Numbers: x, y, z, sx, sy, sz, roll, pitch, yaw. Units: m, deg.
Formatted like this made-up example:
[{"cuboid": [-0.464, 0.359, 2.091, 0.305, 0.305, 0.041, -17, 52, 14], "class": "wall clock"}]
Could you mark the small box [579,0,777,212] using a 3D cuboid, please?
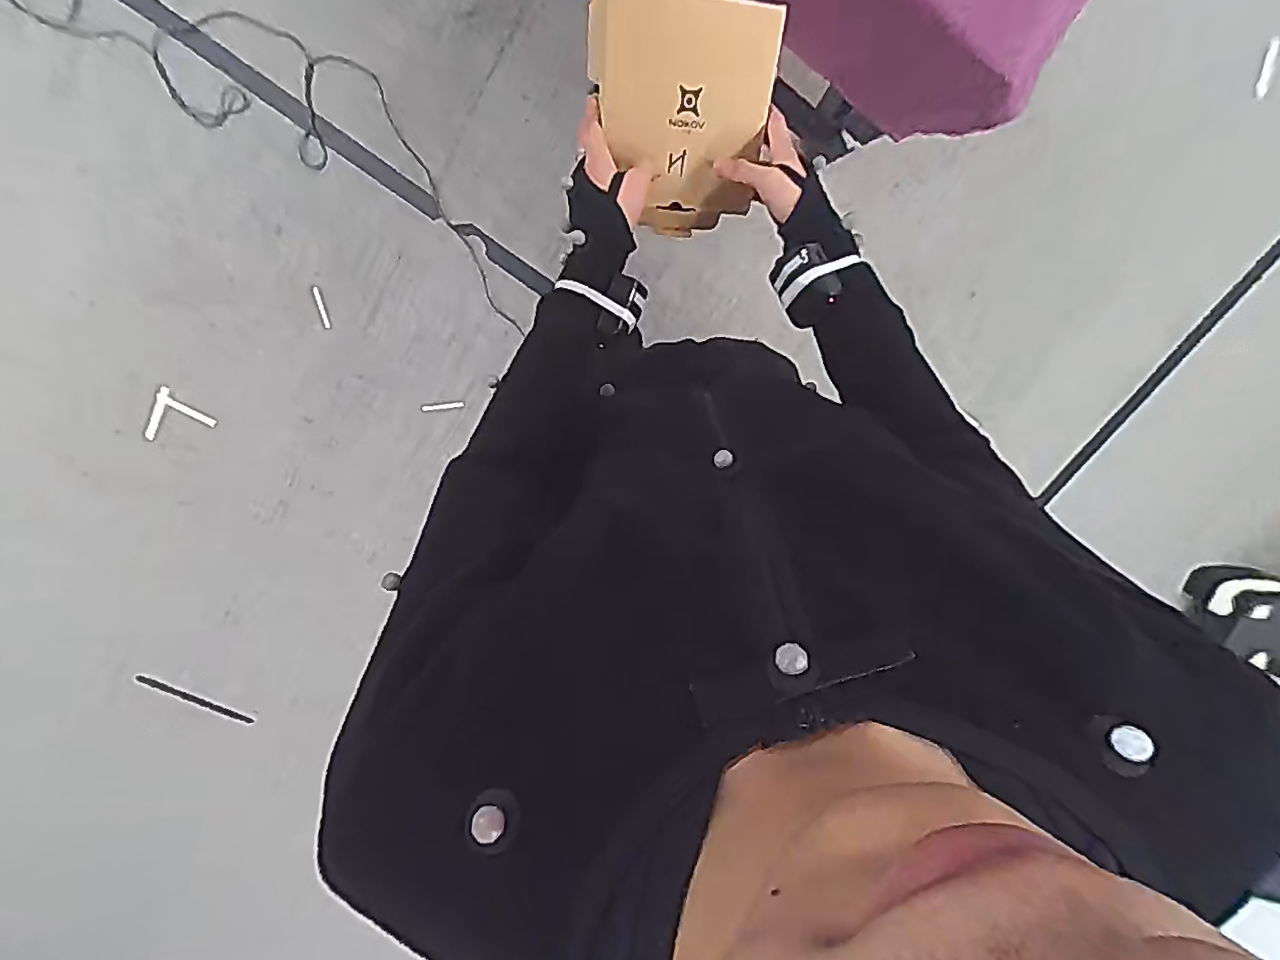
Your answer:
[{"cuboid": [0.024, -0.403, 0.583, 0.168, 0.176, 0.179, -1, 125, -11], "class": "small box"}]
